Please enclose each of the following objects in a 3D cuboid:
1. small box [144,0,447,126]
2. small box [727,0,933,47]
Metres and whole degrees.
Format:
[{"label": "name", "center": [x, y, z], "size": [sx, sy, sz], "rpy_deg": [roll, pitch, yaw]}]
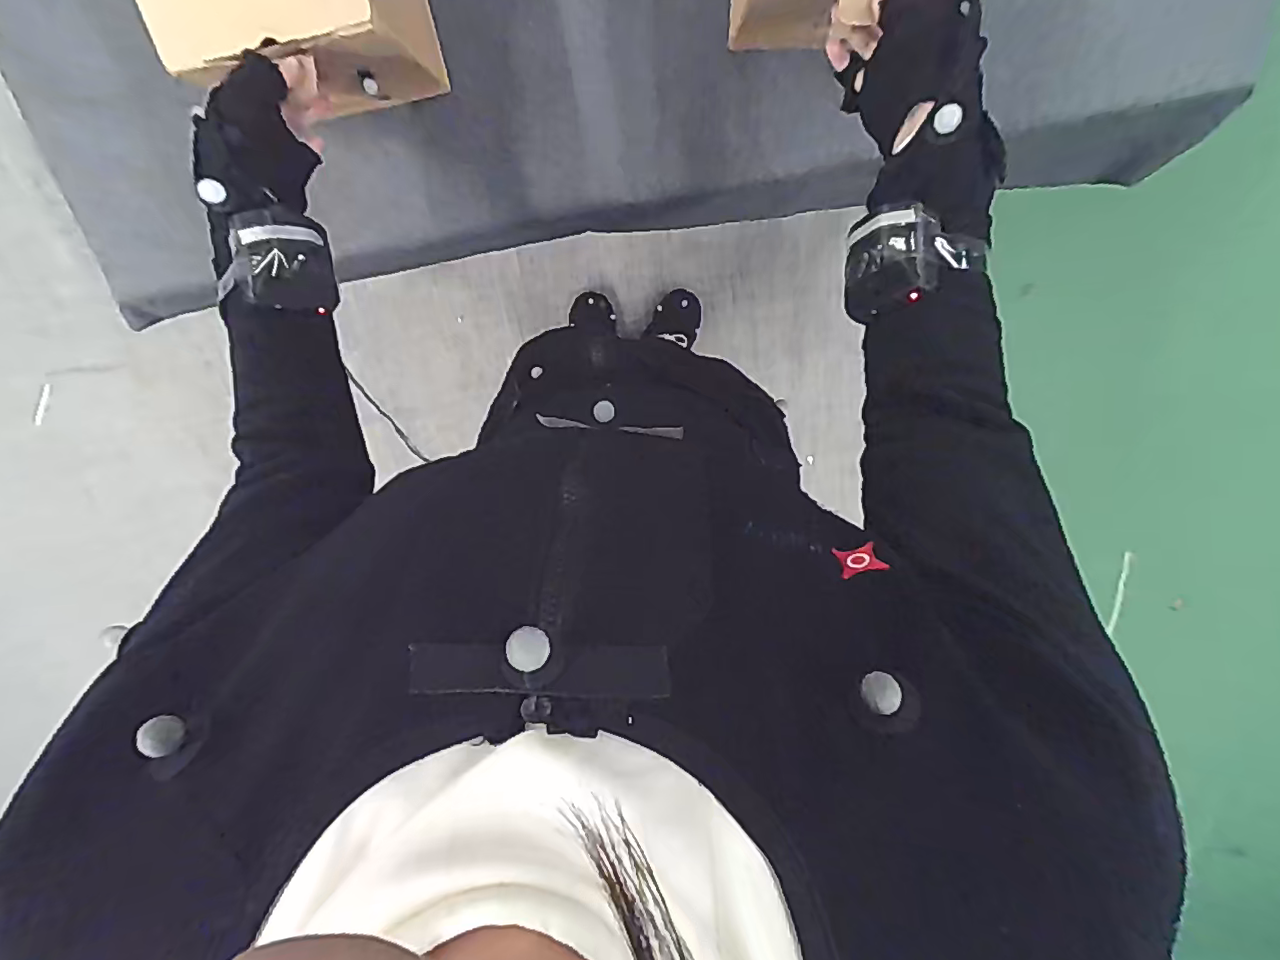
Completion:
[{"label": "small box", "center": [-0.285, -0.421, 0.452], "size": [0.168, 0.176, 0.179], "rpy_deg": [-10, 110, 4]}, {"label": "small box", "center": [0.161, -0.465, 0.420], "size": [0.168, 0.176, 0.179], "rpy_deg": [0, 113, 1]}]
